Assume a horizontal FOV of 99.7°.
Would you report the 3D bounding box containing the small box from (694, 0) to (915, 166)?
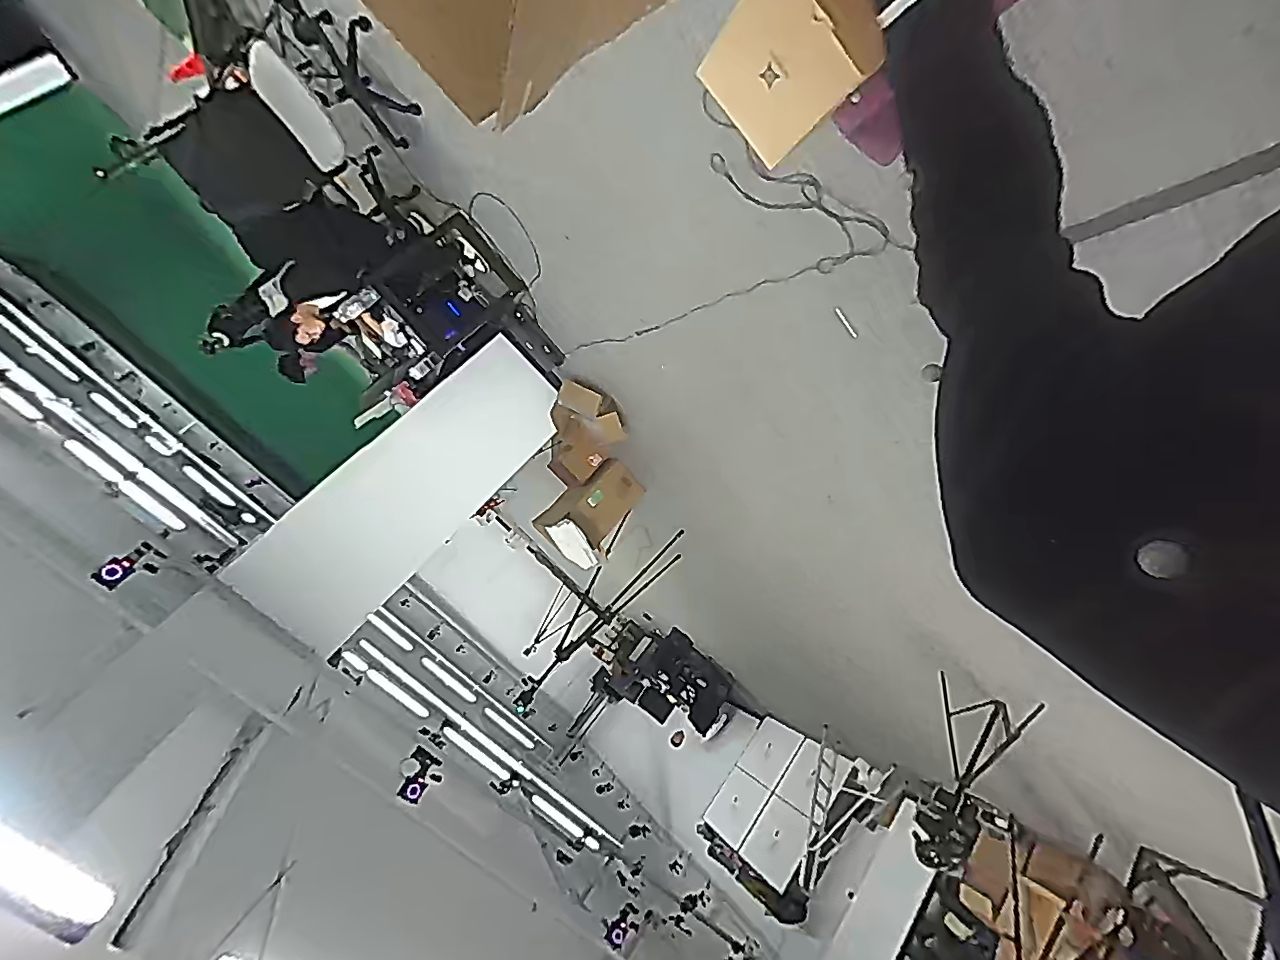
[{"bbox_3d":[0.210,-0.564,0.700,0.168,0.176,0.179,46,159,-12],"label":"small box"}]
